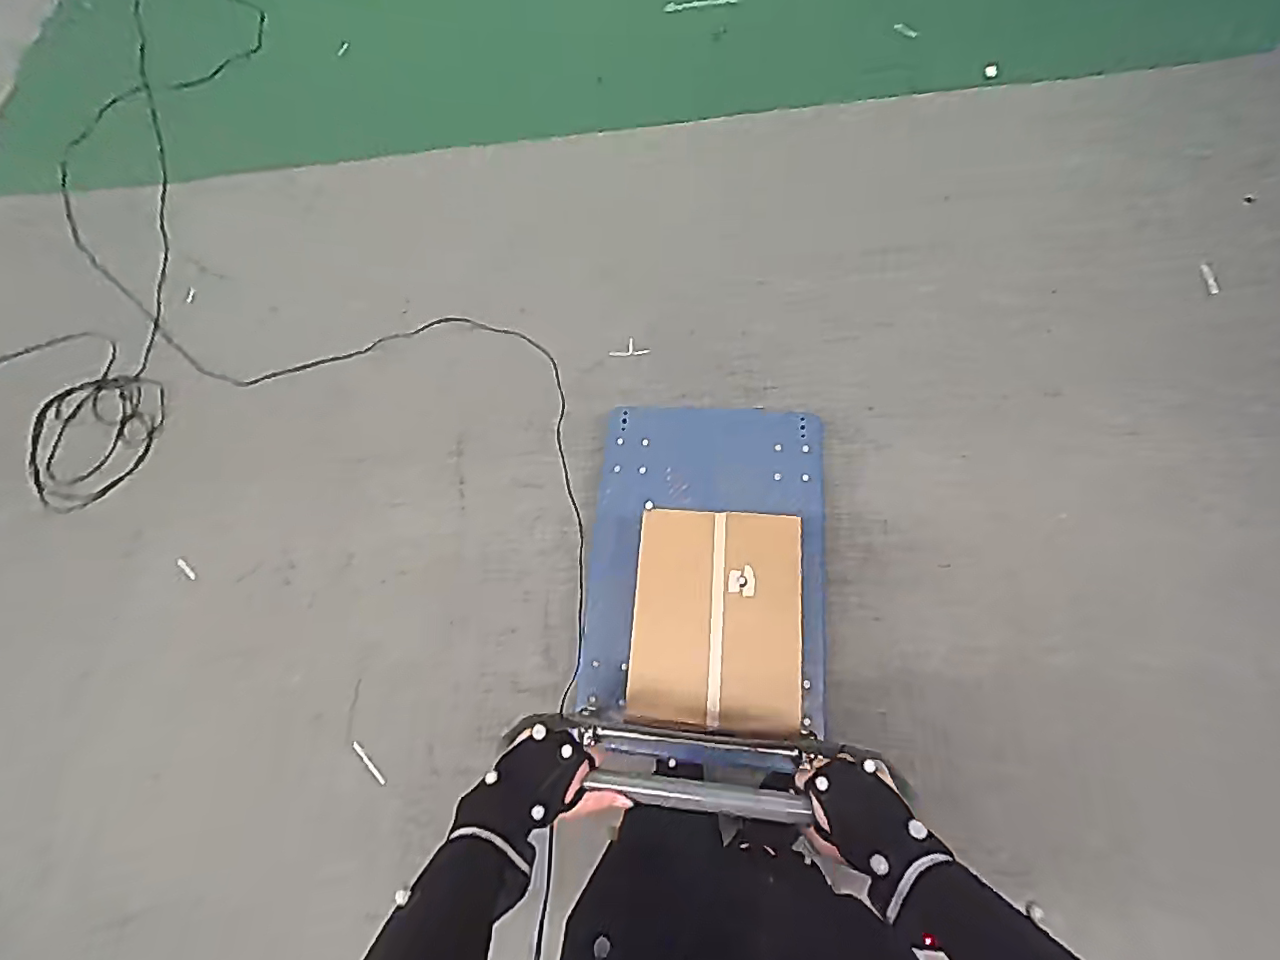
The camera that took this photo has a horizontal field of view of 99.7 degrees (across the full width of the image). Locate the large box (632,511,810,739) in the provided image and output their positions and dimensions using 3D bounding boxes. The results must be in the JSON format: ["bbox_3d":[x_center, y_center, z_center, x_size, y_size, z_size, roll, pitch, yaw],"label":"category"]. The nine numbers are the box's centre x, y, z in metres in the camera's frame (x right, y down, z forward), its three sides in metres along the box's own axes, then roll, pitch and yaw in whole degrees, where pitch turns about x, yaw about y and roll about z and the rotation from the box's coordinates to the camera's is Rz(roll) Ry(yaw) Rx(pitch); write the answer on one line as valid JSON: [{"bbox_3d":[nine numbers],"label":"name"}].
[{"bbox_3d":[0.169,0.306,1.143,0.320,0.320,0.408,3,70,7],"label":"large box"}]
